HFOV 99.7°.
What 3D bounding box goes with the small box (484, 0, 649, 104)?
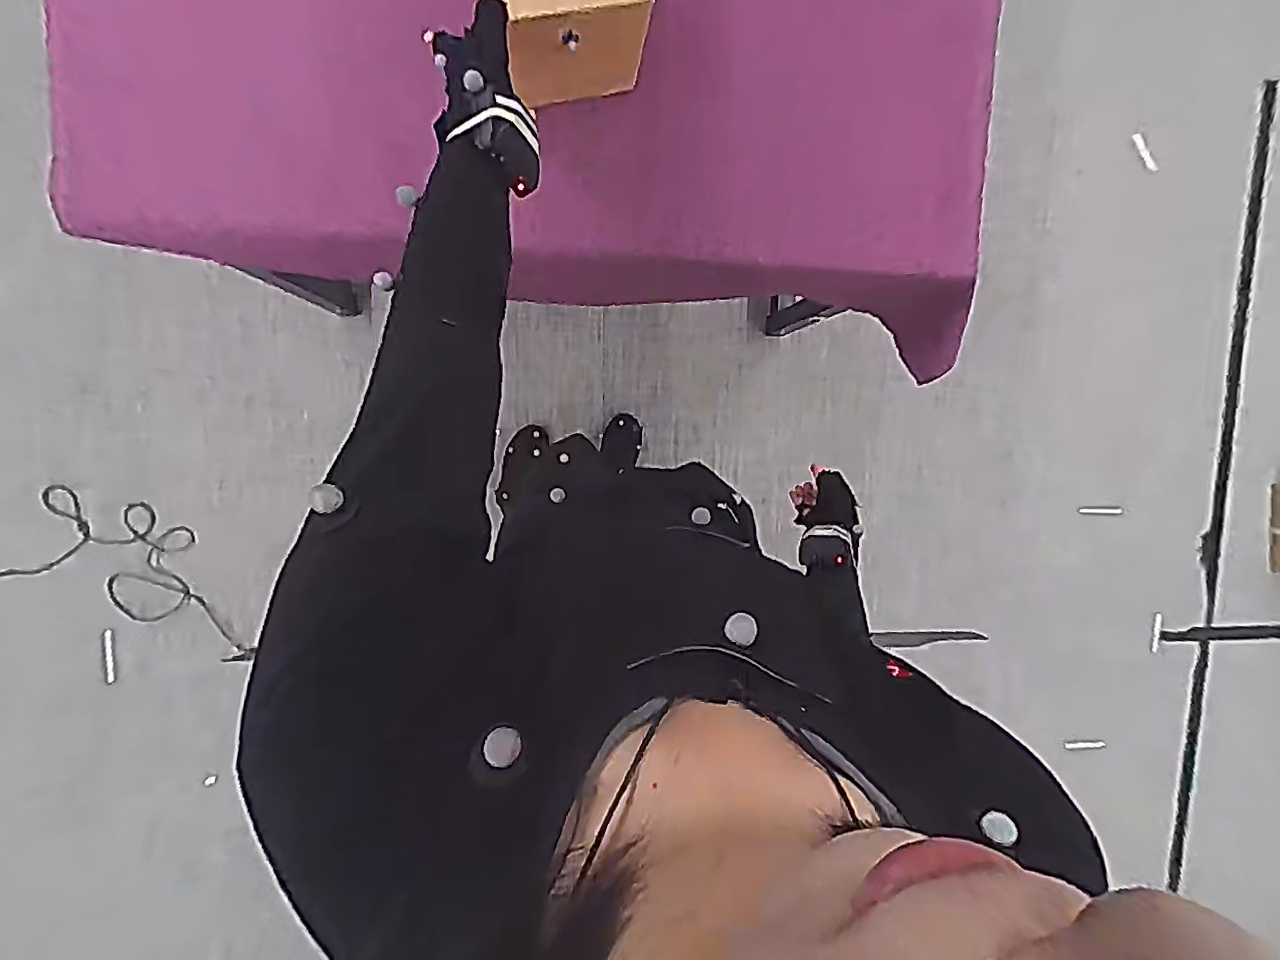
[{"bbox_3d":[-0.095,-0.575,0.628,0.179,0.176,0.168,-14,99,-6],"label":"small box"}]
